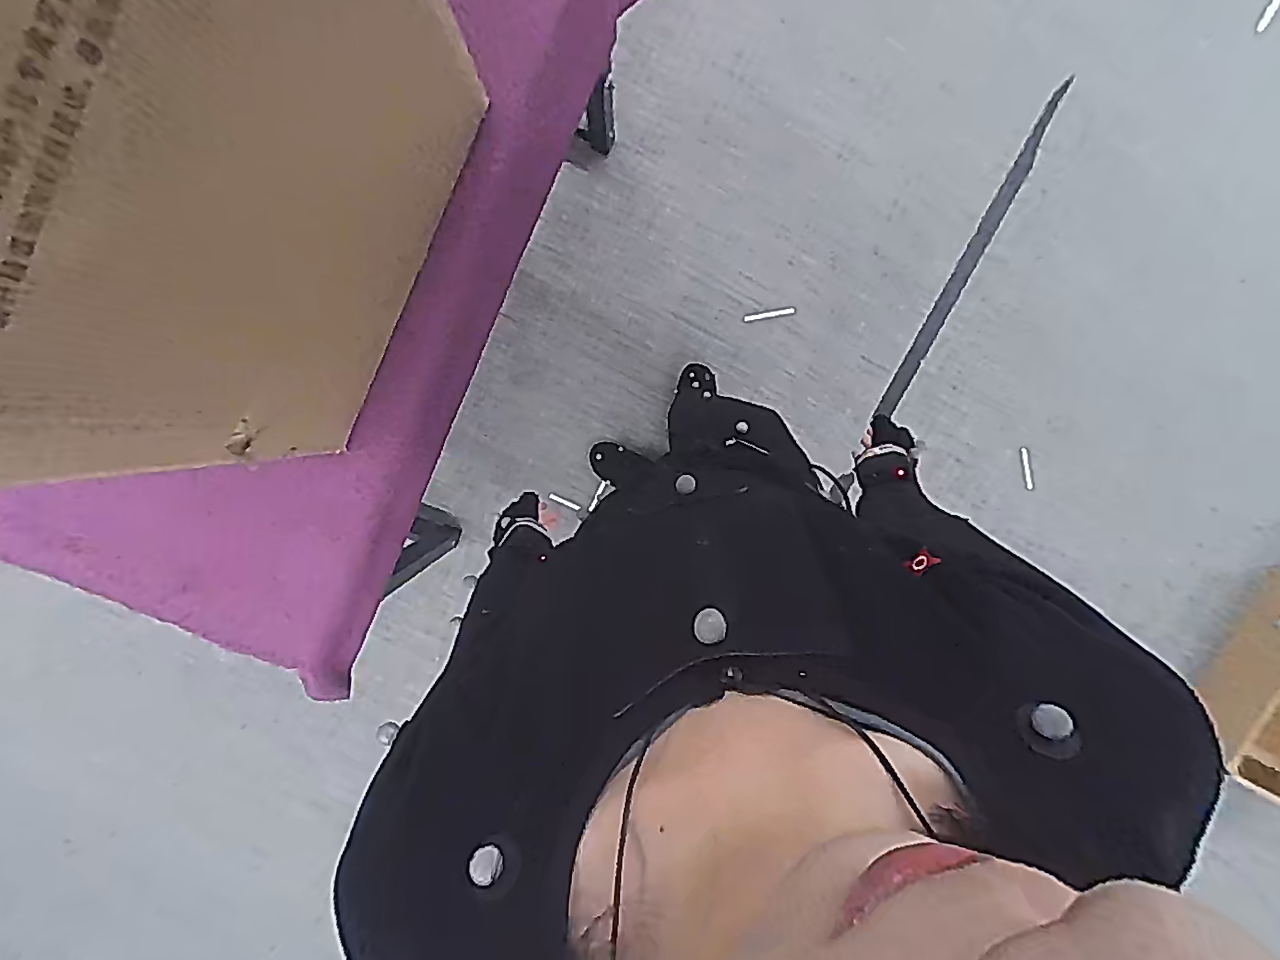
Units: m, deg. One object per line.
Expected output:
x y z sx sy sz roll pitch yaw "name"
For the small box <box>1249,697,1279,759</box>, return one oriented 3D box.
1.887 0.732 1.504 0.179 0.176 0.168 30 91 -2 "small box"
